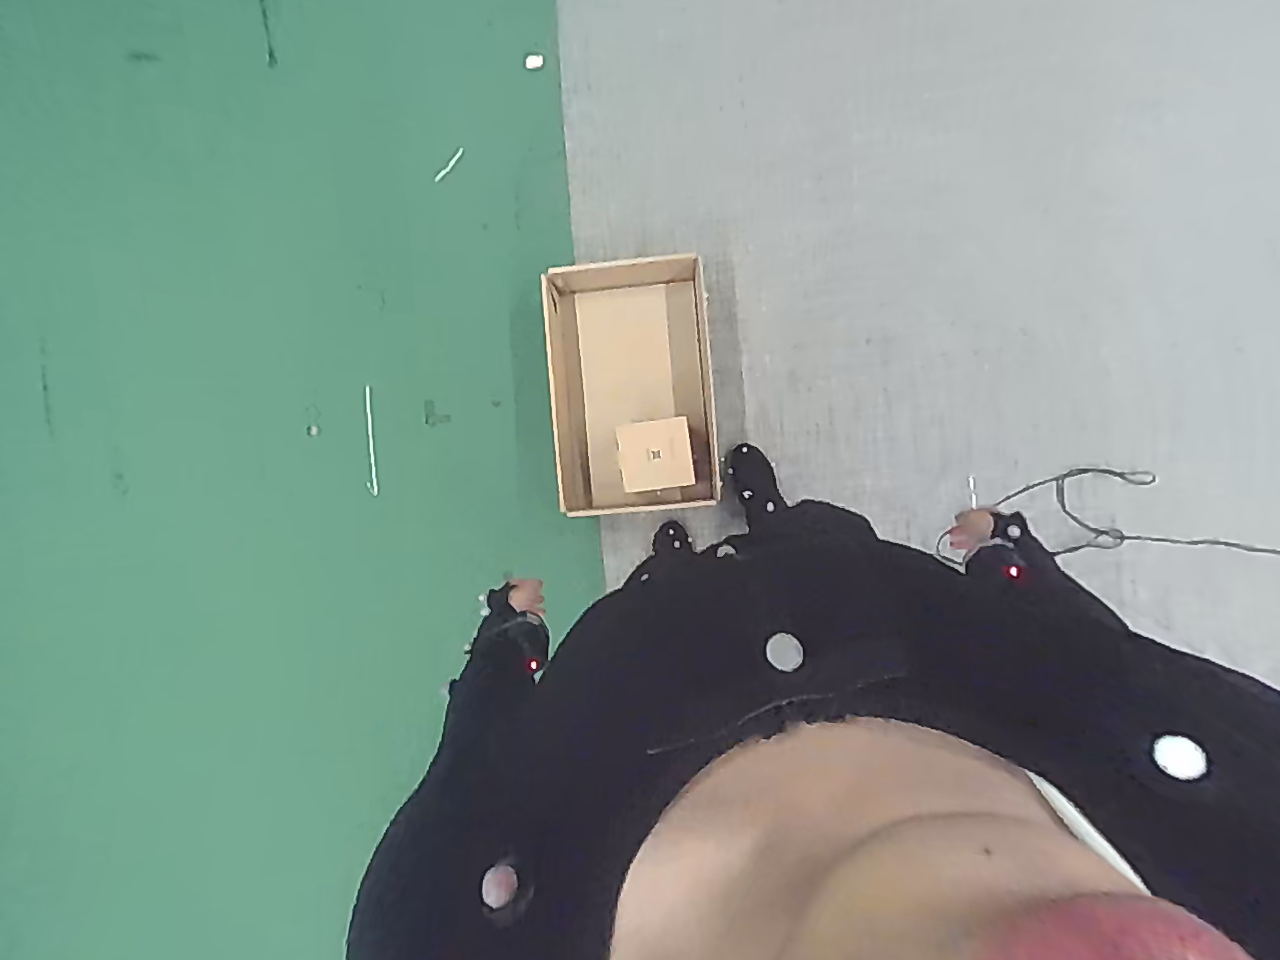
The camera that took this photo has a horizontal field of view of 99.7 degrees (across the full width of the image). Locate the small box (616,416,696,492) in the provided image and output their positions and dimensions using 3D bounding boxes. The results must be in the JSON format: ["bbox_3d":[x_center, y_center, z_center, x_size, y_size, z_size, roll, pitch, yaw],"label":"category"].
[{"bbox_3d":[0.045,-0.059,1.356,0.179,0.176,0.168,-8,89,4],"label":"small box"}]
